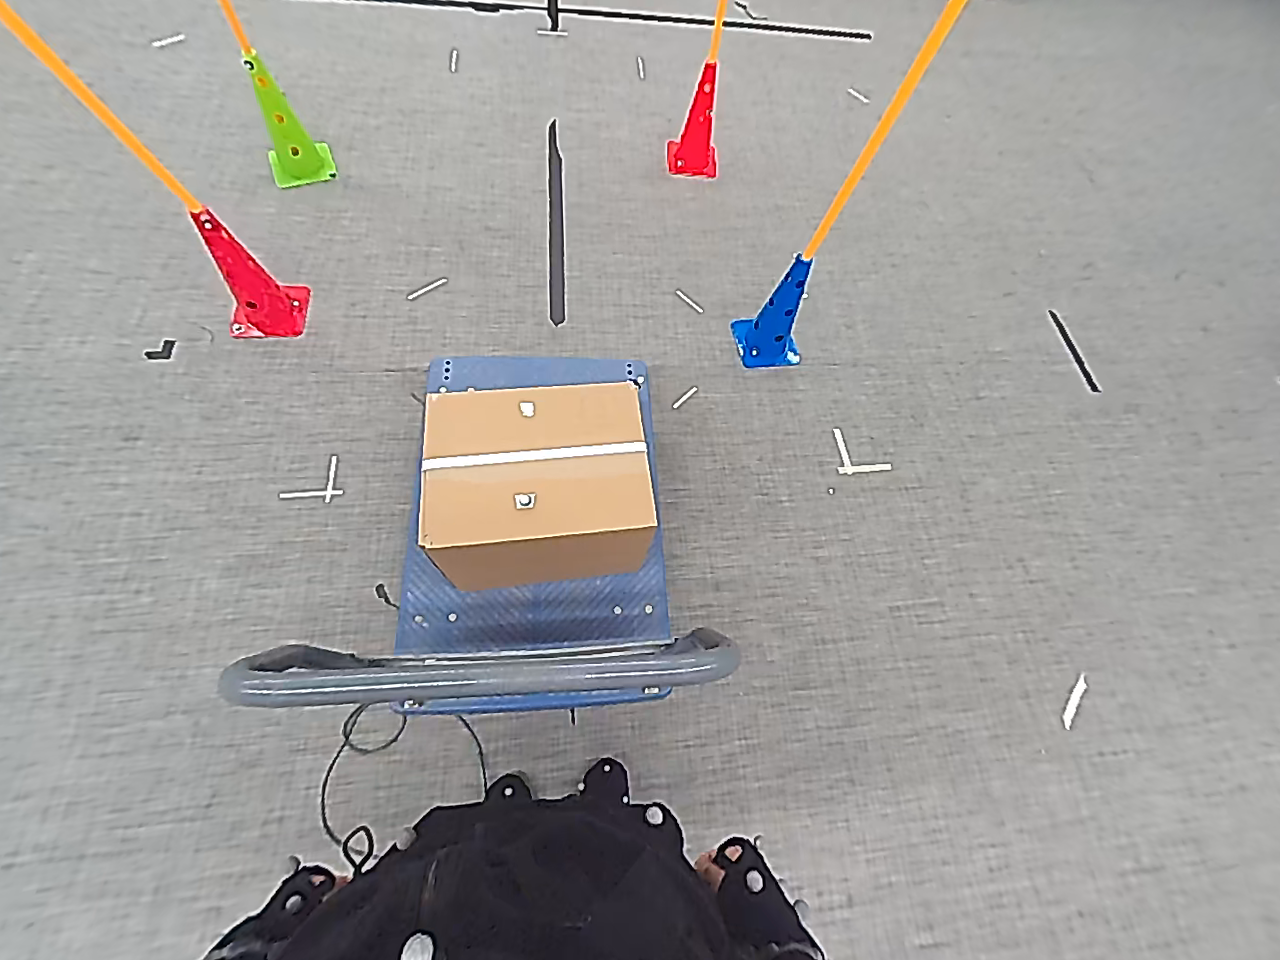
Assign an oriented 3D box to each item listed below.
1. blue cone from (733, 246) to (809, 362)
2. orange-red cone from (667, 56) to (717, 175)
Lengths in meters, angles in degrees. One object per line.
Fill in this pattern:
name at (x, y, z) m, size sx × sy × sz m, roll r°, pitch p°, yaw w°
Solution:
blue cone at (0.433, -0.543, 1.652) m, size 0.193 × 0.380 × 0.192 m, roll -6°, pitch 65°, yaw -10°
orange-red cone at (0.228, -1.361, 1.997) m, size 0.199 × 0.360 × 0.198 m, roll 4°, pitch 65°, yaw -6°
